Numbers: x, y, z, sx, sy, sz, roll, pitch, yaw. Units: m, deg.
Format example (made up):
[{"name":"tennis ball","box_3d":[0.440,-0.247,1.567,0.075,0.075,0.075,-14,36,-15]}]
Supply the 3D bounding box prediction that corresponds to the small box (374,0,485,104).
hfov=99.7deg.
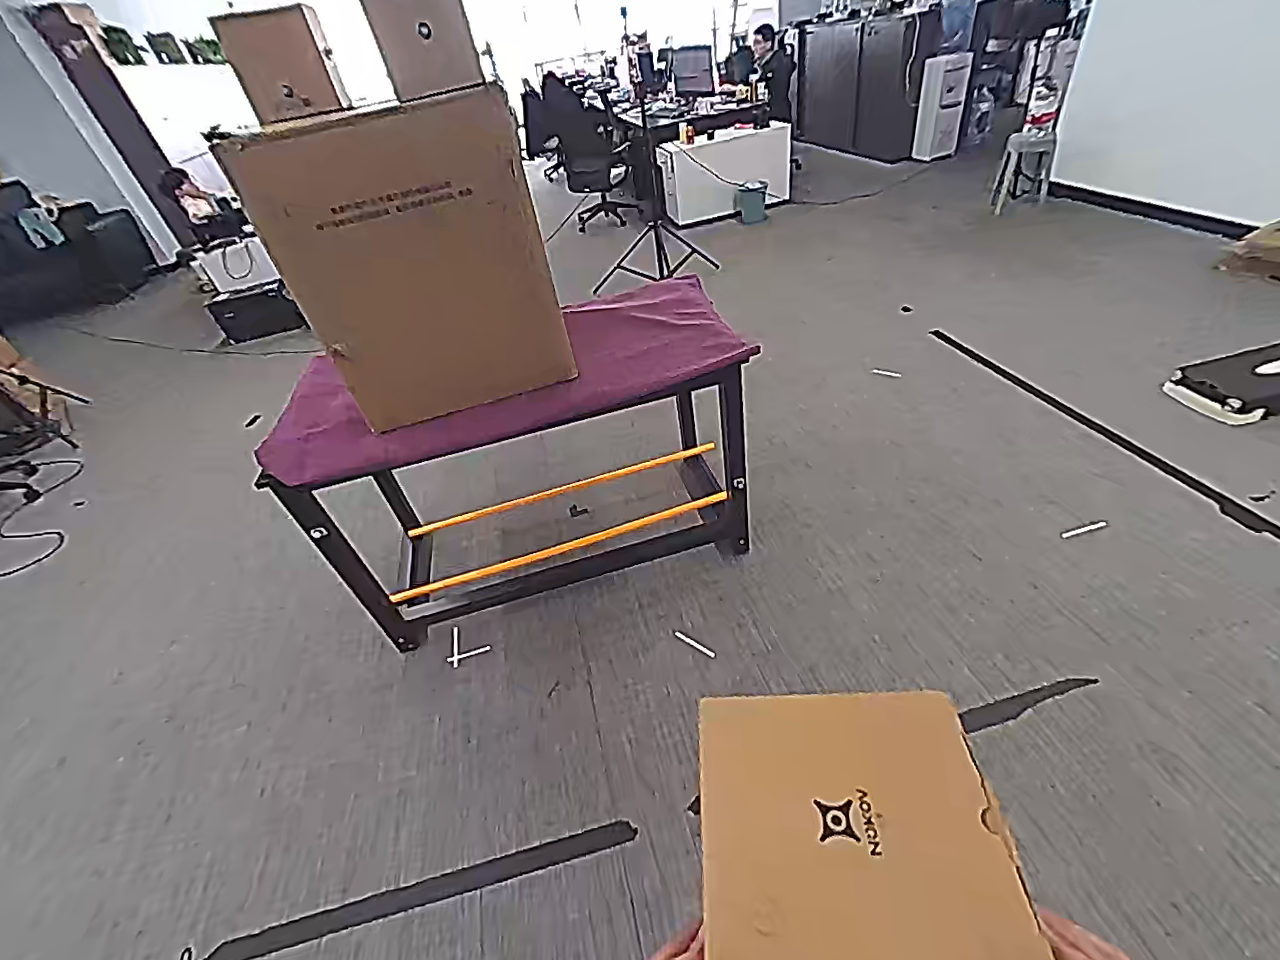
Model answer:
[{"name":"small box","box_3d":[-0.442,-0.925,1.162,0.168,0.176,0.179,-16,40,-4]}]

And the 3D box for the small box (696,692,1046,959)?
[{"name":"small box","box_3d":[0.137,0.272,0.382,0.179,0.176,0.168,-6,38,9]}]
